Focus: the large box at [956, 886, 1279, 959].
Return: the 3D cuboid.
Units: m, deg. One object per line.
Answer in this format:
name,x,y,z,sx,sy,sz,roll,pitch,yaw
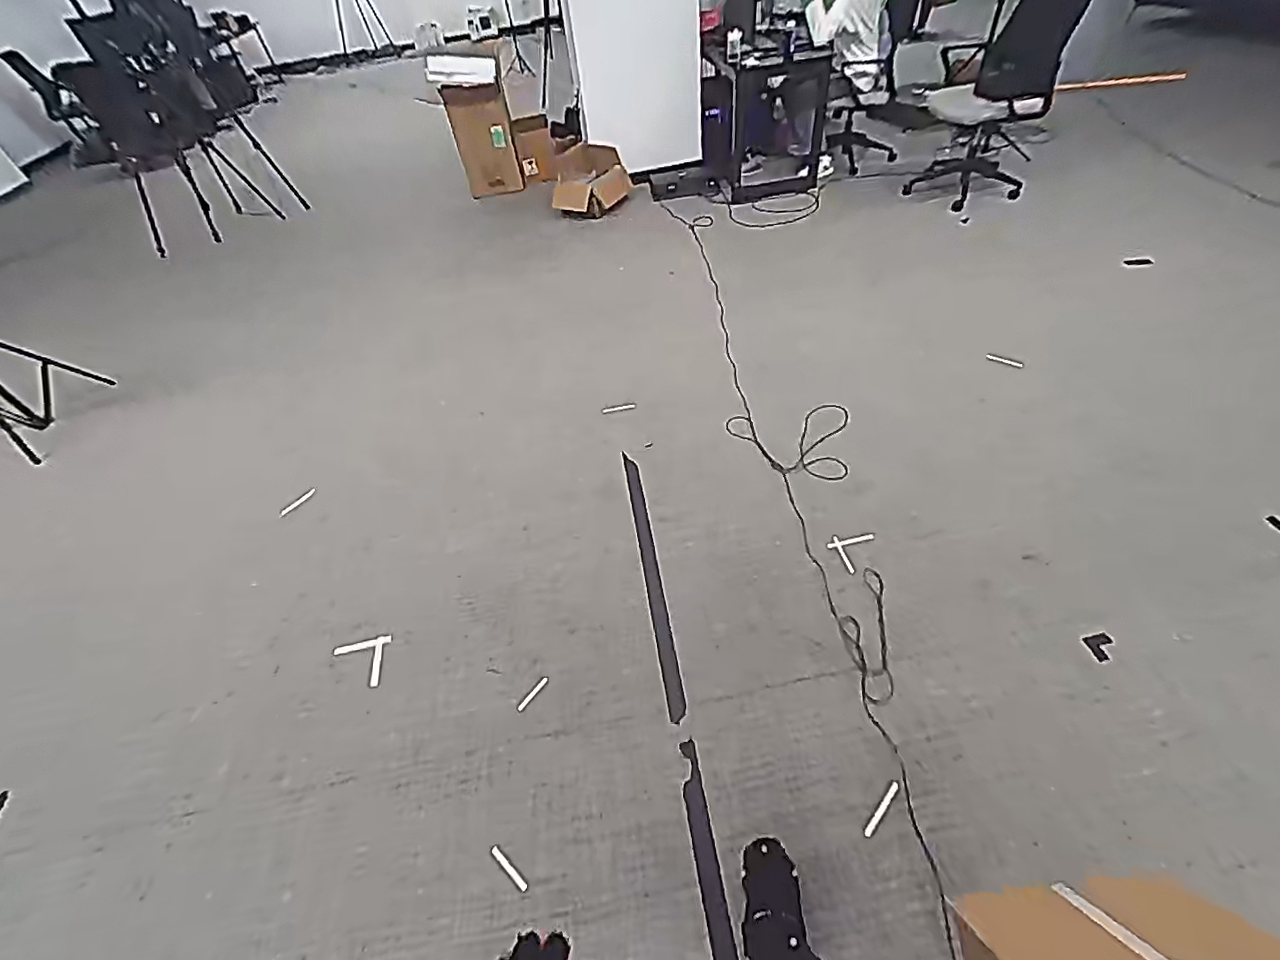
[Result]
large box,0.618,0.708,0.563,0.320,0.408,0.320,-9,76,2
